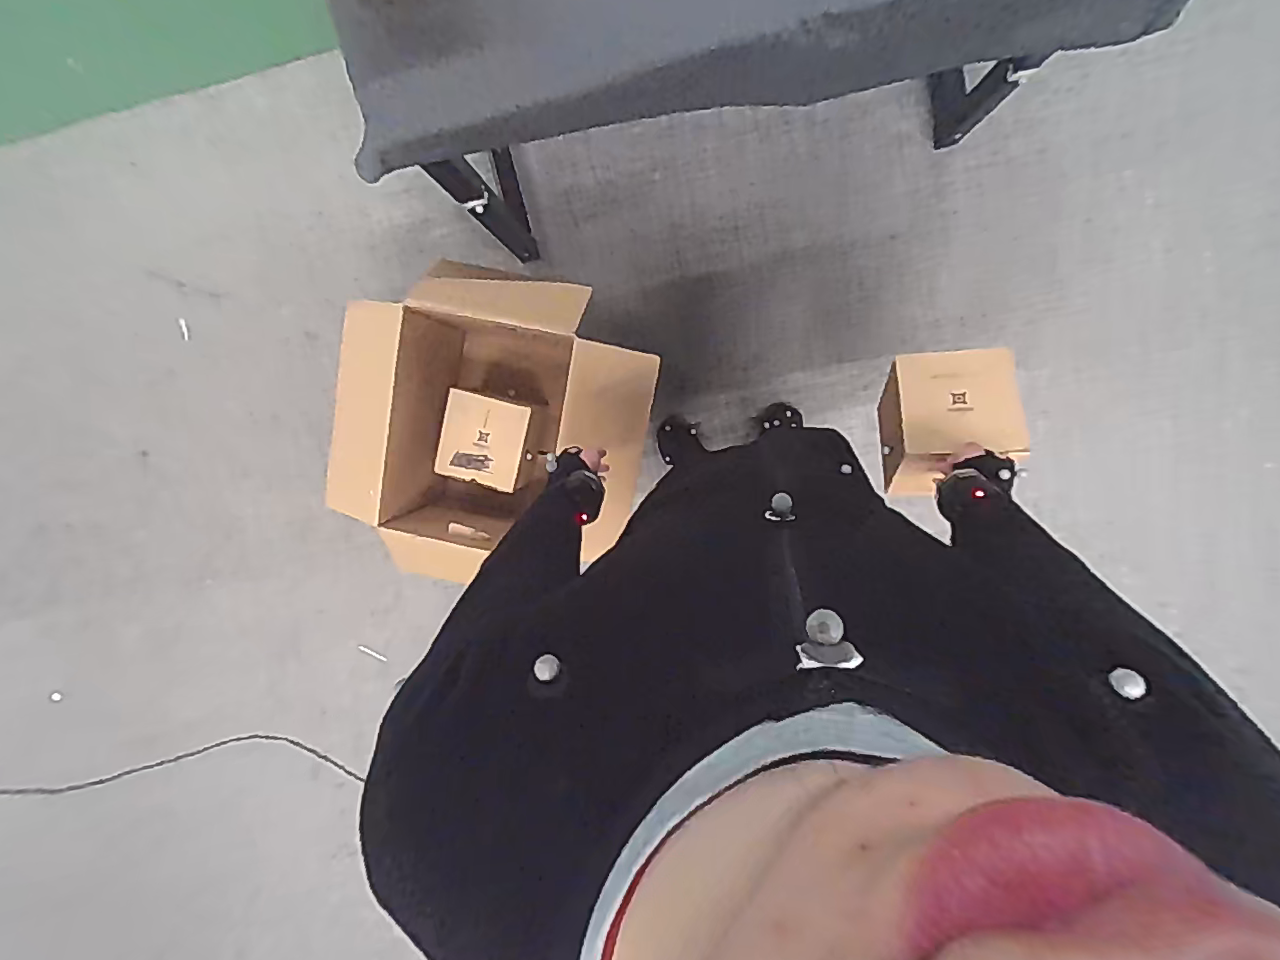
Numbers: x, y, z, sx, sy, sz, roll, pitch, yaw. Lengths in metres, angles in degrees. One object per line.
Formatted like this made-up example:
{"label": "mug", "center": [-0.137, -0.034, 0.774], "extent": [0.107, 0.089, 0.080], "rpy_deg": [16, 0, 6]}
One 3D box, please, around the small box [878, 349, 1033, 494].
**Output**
{"label": "small box", "center": [0.487, -0.085, 0.863], "extent": [0.168, 0.176, 0.179], "rpy_deg": [0, 66, 12]}
